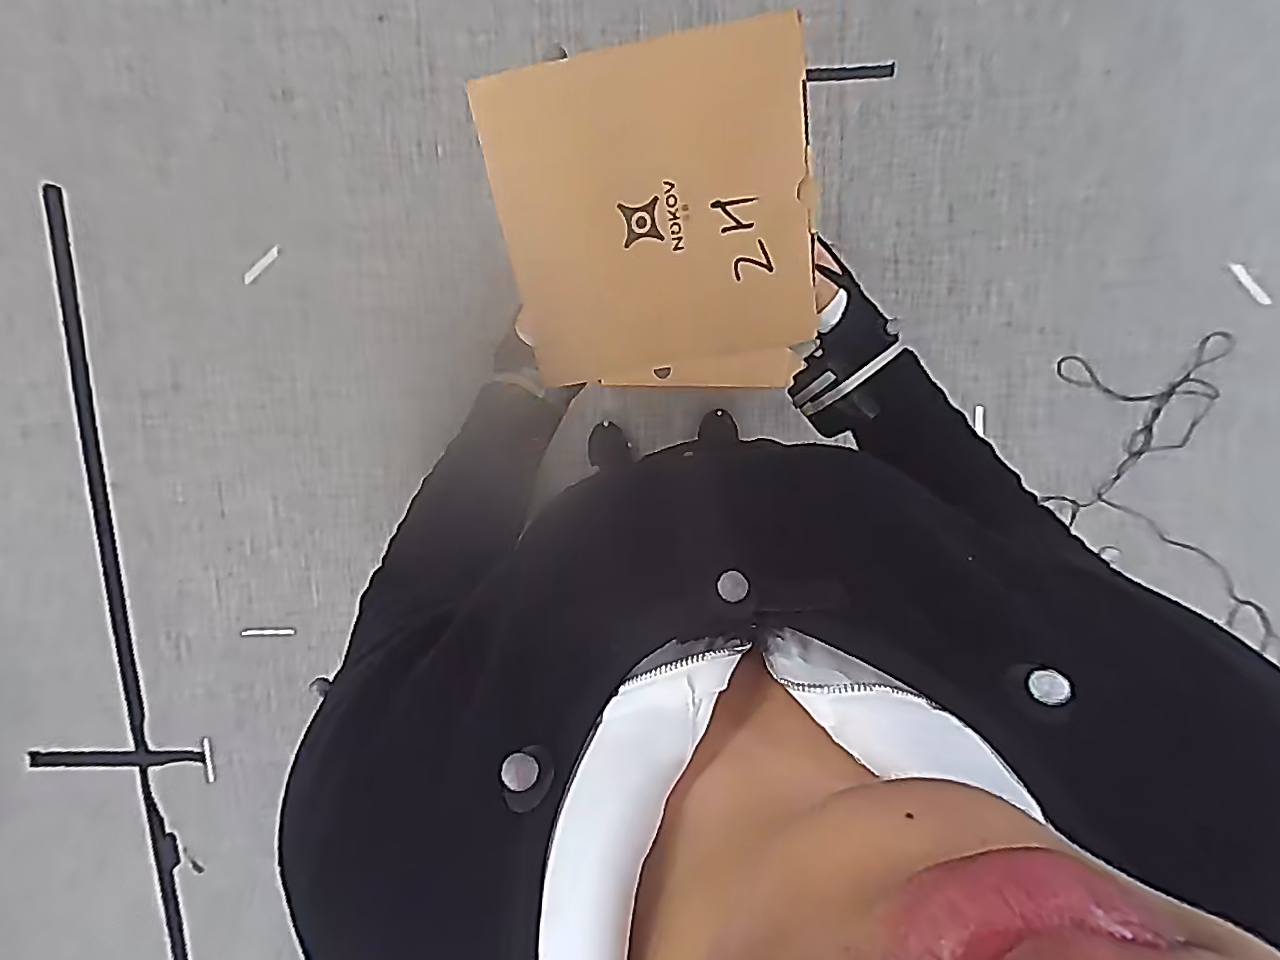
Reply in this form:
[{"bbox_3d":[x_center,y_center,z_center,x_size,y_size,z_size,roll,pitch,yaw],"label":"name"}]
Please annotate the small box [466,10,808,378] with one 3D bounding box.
[{"bbox_3d":[0.006,-0.182,0.382,0.179,0.176,0.168,-10,114,4],"label":"small box"}]
